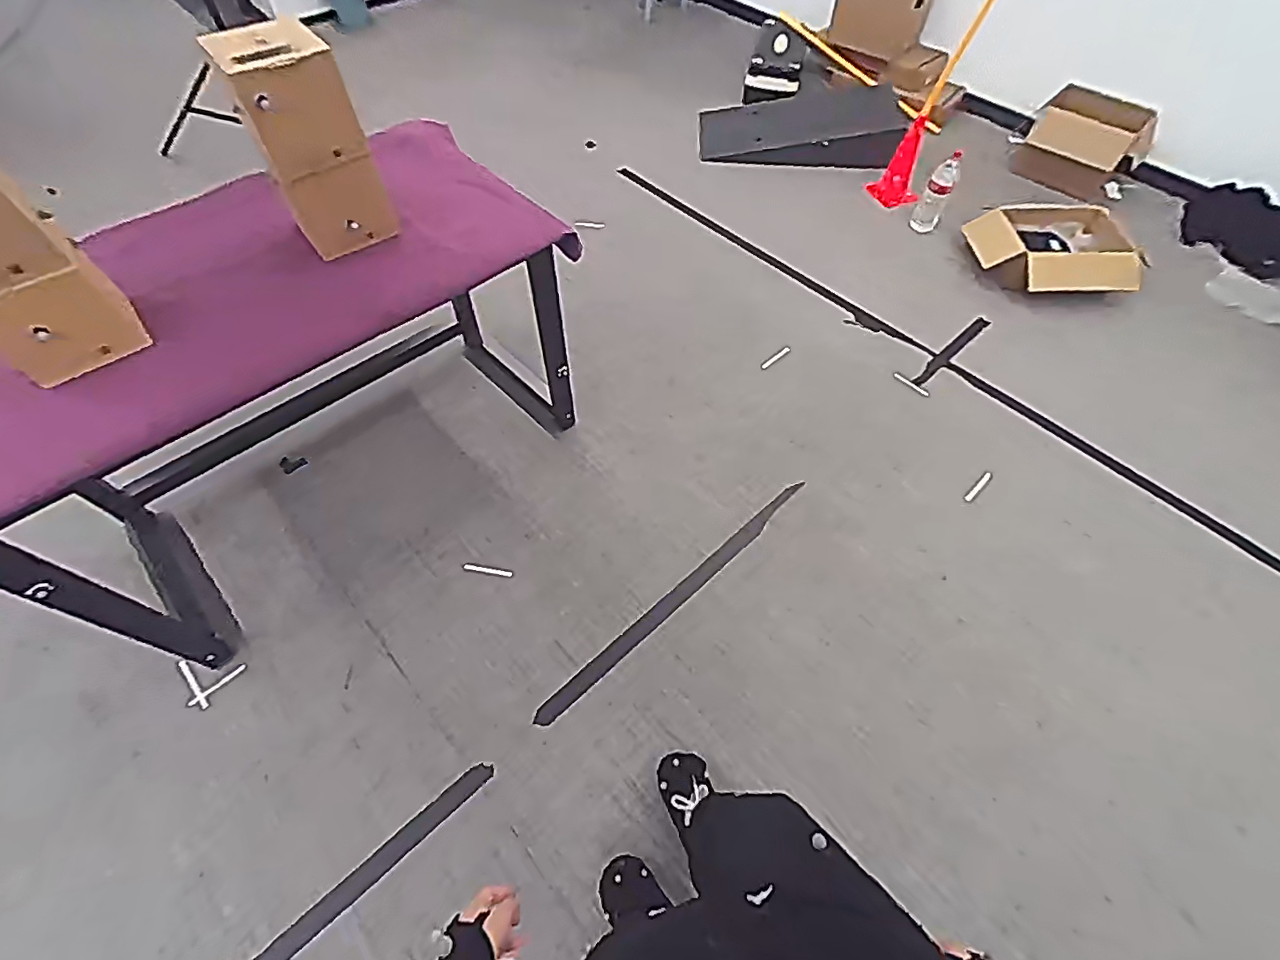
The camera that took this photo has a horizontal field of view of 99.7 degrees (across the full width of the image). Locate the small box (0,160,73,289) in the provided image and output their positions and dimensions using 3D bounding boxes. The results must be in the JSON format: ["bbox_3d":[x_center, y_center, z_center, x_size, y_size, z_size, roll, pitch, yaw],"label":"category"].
[{"bbox_3d":[-0.986,-0.390,0.772,0.168,0.176,0.179,-38,65,-22],"label":"small box"}]

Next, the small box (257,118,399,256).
[{"bbox_3d":[-0.627,-0.594,1.103,0.168,0.176,0.179,-33,64,-19],"label":"small box"}]

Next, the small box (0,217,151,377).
[{"bbox_3d":[-0.986,-0.299,0.909,0.168,0.176,0.179,-37,65,-22],"label":"small box"}]
